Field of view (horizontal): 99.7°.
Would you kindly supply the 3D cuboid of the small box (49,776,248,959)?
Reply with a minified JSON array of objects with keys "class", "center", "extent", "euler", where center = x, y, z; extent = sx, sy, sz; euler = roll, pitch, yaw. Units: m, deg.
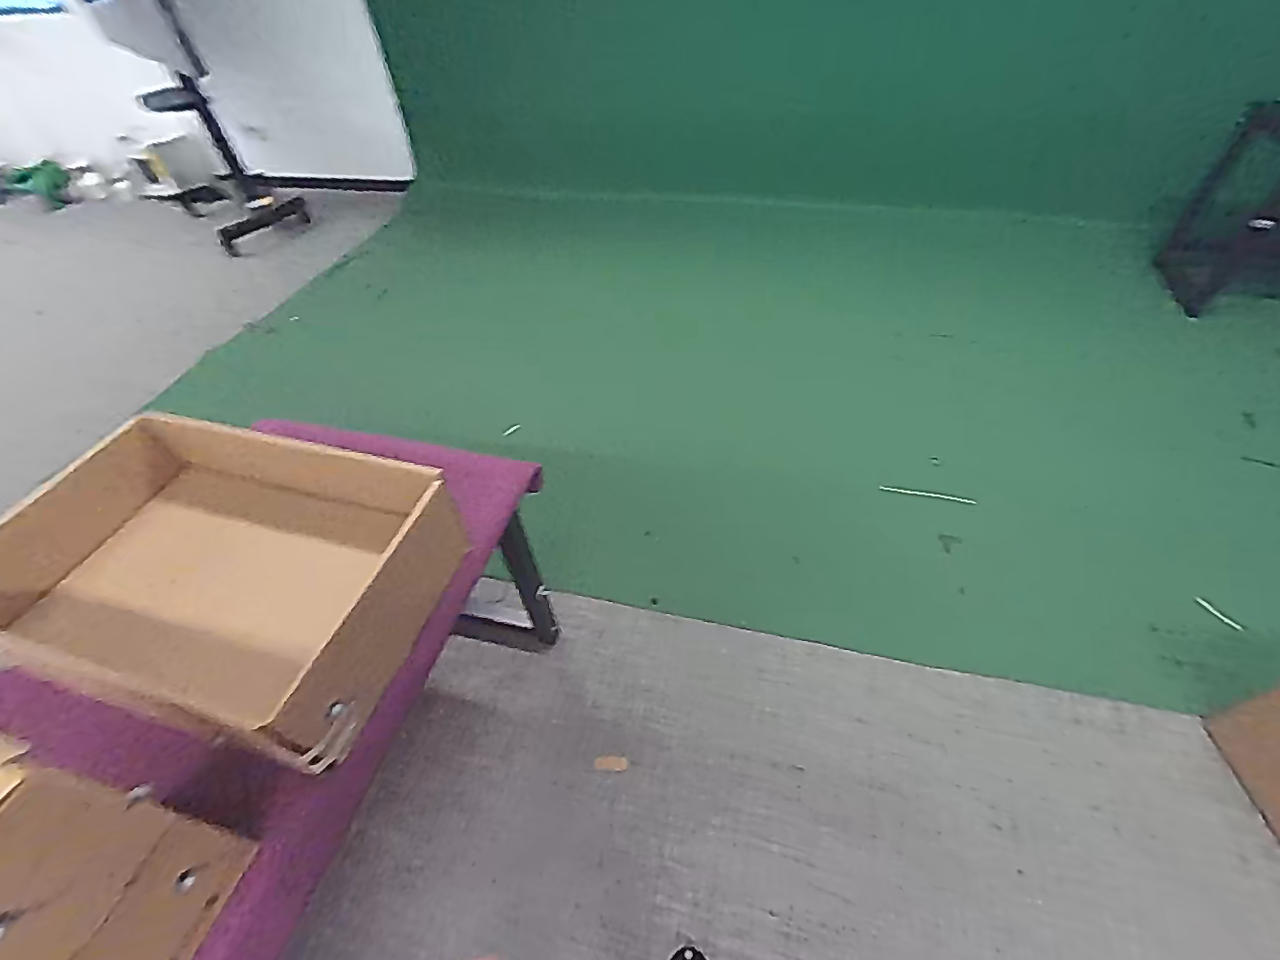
[{"class":"small box","center":[-0.578,0.445,0.573],"extent":[0.179,0.176,0.168],"euler":[9,48,14]}]

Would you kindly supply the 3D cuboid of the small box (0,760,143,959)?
[{"class":"small box","center":[-0.579,0.340,0.447],"extent":[0.168,0.176,0.179],"euler":[9,49,14]}]

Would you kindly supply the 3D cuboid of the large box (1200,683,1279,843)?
[{"class":"large box","center":[1.564,0.664,1.131],"extent":[0.320,0.320,0.408],"euler":[-2,46,1]}]
